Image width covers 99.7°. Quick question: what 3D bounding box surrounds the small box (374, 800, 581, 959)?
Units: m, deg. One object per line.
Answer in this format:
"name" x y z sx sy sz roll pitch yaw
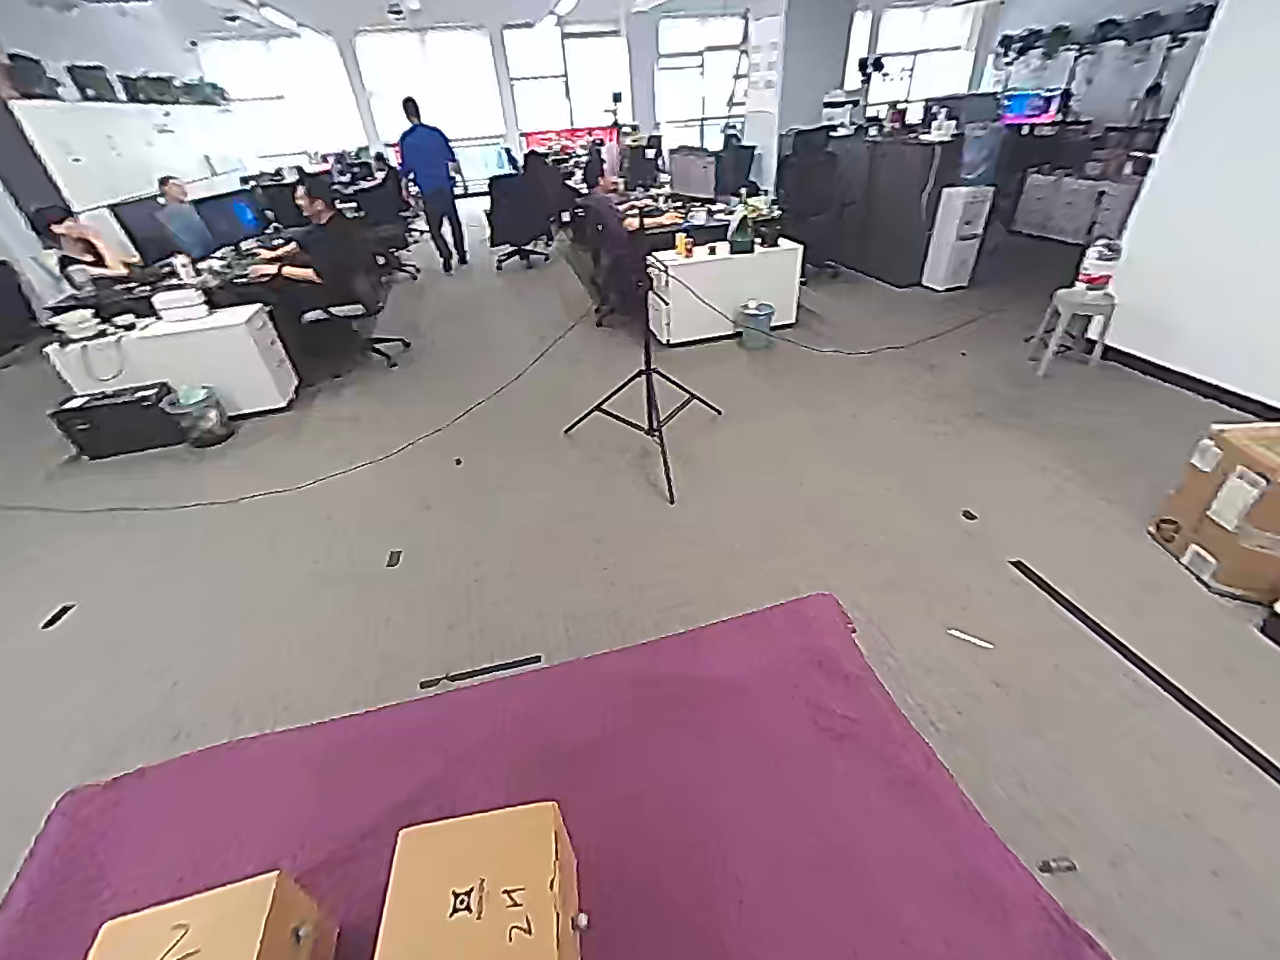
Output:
"small box" -0.162 0.483 0.581 0.179 0.176 0.168 -7 35 -5
